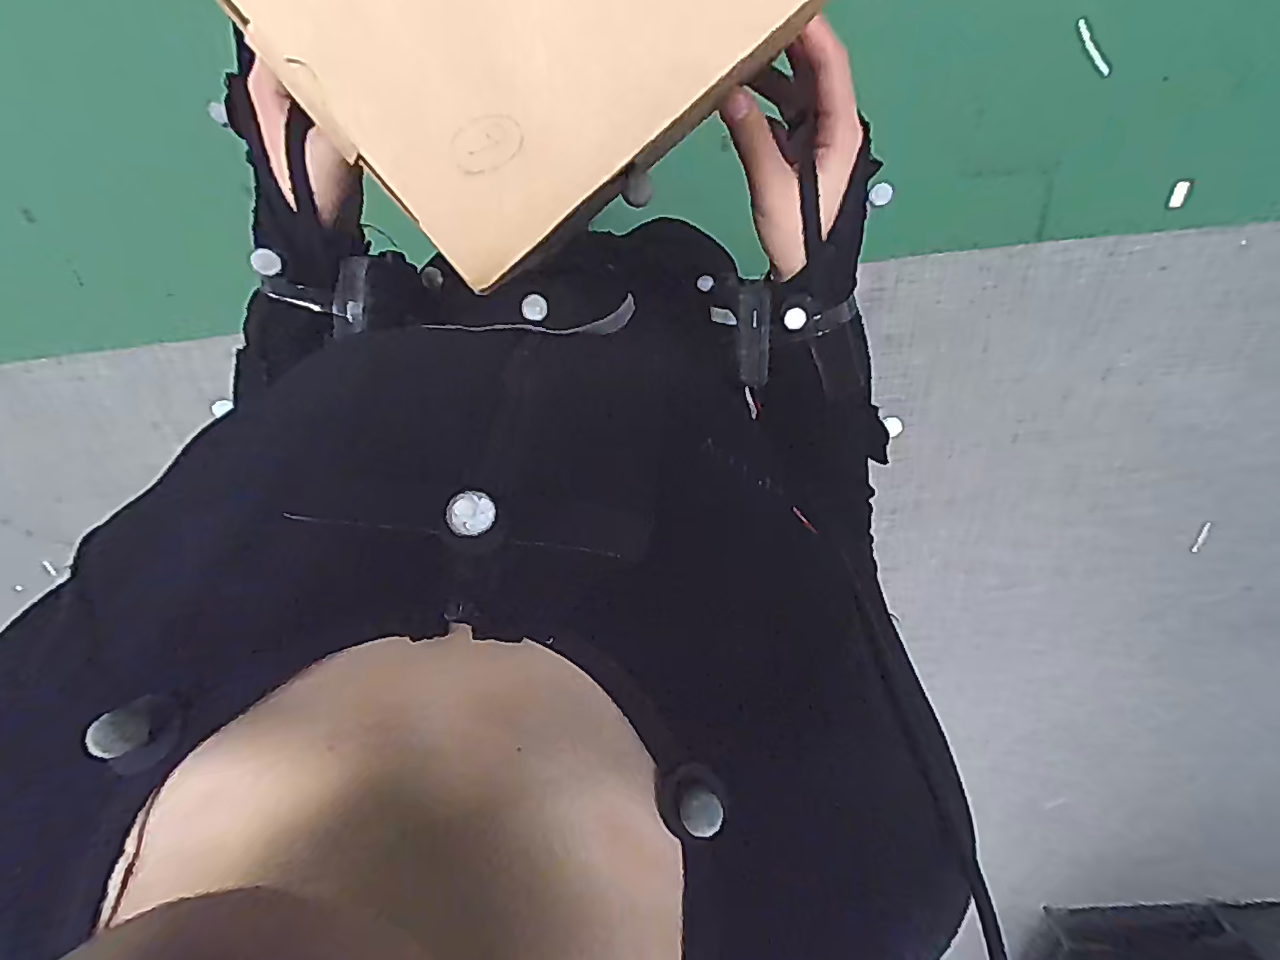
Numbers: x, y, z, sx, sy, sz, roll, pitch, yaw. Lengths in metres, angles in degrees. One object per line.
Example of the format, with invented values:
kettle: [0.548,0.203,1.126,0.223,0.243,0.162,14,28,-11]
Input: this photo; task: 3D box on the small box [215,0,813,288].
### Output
small box: [-0.043,-0.211,0.227,0.179,0.176,0.168,-33,112,17]
